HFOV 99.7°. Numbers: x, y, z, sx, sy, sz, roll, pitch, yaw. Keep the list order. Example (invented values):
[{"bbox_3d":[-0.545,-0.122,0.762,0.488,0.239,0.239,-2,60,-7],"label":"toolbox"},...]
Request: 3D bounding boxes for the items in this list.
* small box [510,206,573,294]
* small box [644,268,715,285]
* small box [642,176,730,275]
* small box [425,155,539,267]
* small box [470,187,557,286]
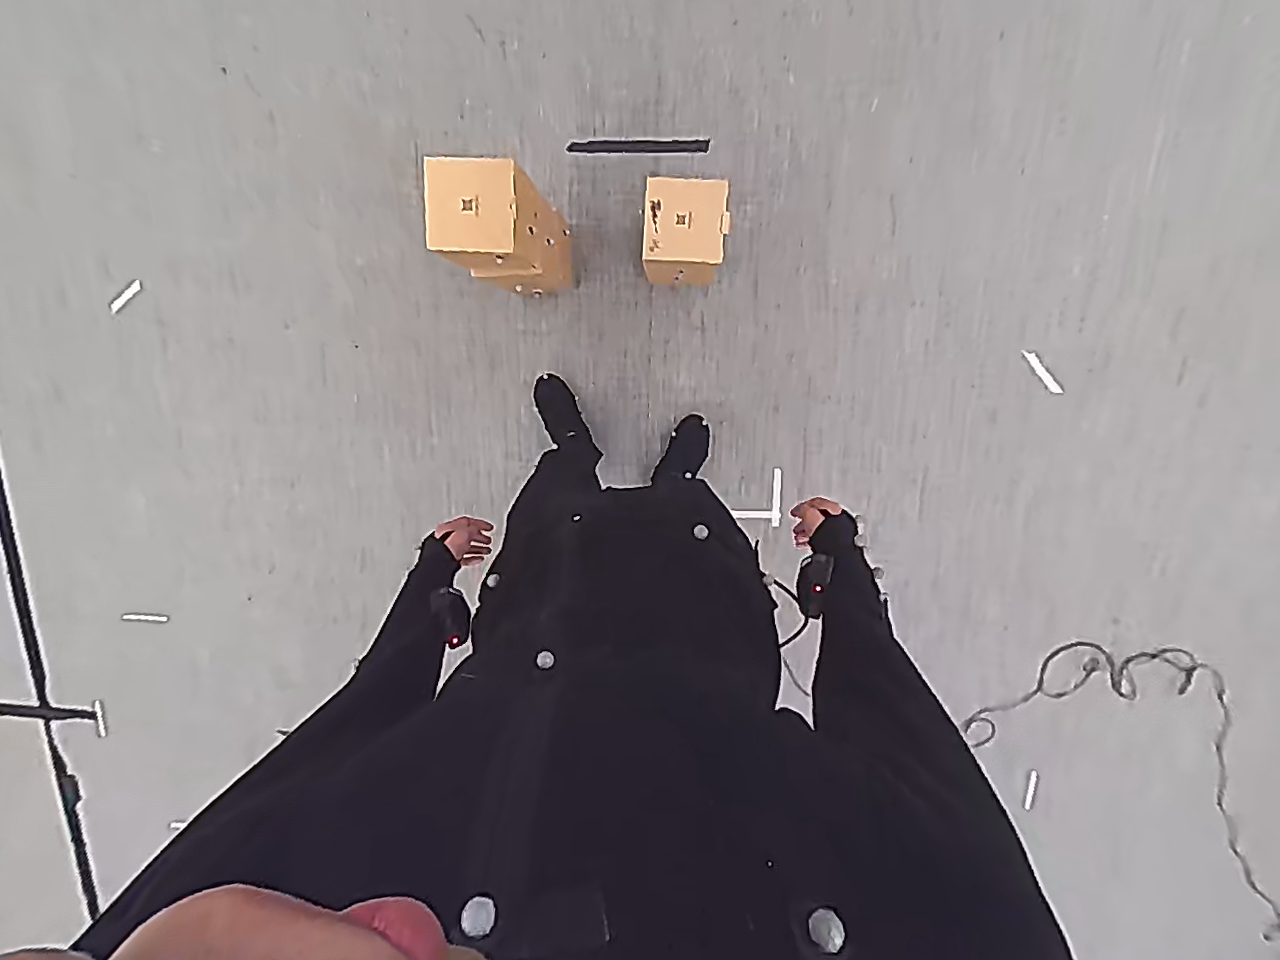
[{"bbox_3d":[-0.274,-0.594,1.410,0.168,0.176,0.179,-3,102,4],"label":"small box"},{"bbox_3d":[0.106,-0.600,1.388,0.179,0.176,0.168,4,103,1],"label":"small box"},{"bbox_3d":[0.098,-0.567,1.227,0.179,0.176,0.168,4,102,1],"label":"small box"},{"bbox_3d":[-0.312,-0.534,1.091,0.179,0.176,0.168,4,102,3],"label":"small box"},{"bbox_3d":[-0.291,-0.555,1.251,0.168,0.176,0.179,-1,102,4],"label":"small box"}]
